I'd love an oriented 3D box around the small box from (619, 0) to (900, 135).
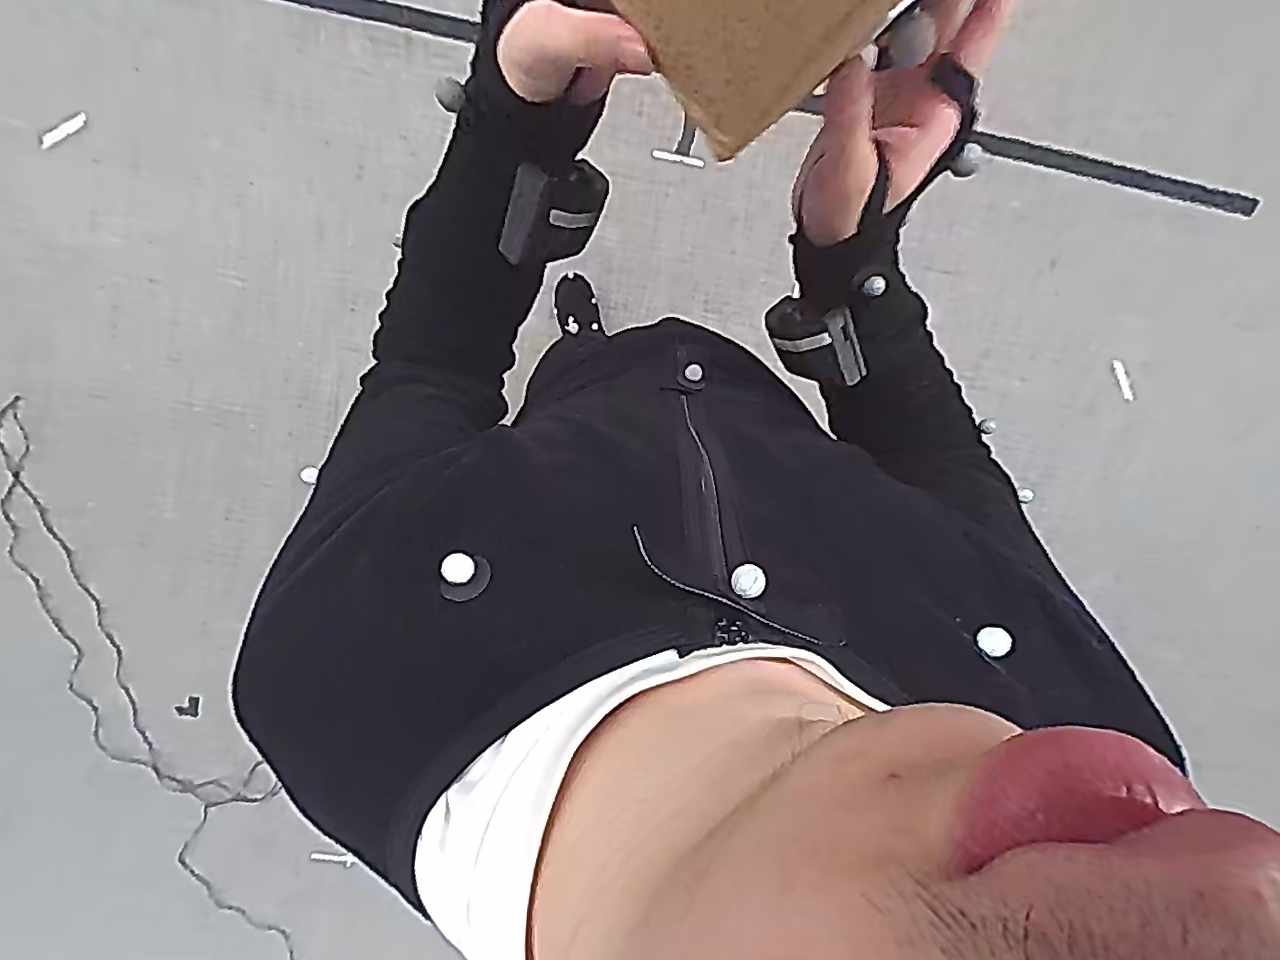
[{"bbox_3d":[0.051,-0.239,0.141,0.168,0.176,0.179,-41,106,7],"label":"small box"}]
